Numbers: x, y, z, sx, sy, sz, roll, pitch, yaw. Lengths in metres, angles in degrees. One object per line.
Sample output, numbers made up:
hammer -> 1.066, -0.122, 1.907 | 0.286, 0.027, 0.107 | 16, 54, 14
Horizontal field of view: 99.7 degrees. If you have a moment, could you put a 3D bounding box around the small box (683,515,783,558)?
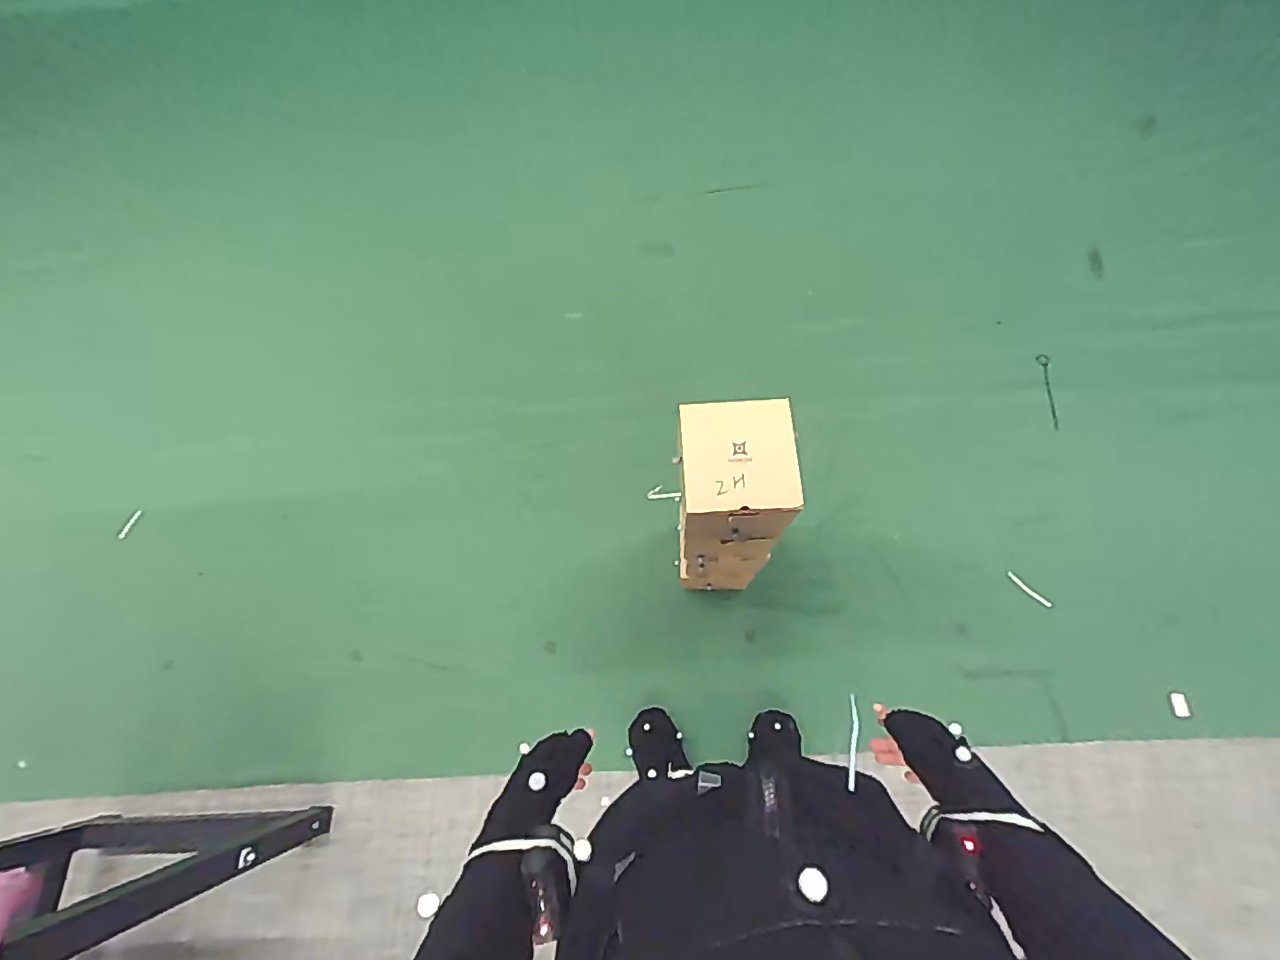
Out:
small box -> 0.166, 0.050, 1.019 | 0.168, 0.176, 0.179 | -2, 69, 3

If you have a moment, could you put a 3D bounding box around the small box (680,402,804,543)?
small box -> 0.151, -0.006, 0.864 | 0.168, 0.176, 0.179 | -3, 70, 3

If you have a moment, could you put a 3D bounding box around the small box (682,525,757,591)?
small box -> 0.188, 0.172, 1.323 | 0.168, 0.176, 0.179 | -1, 71, 3
